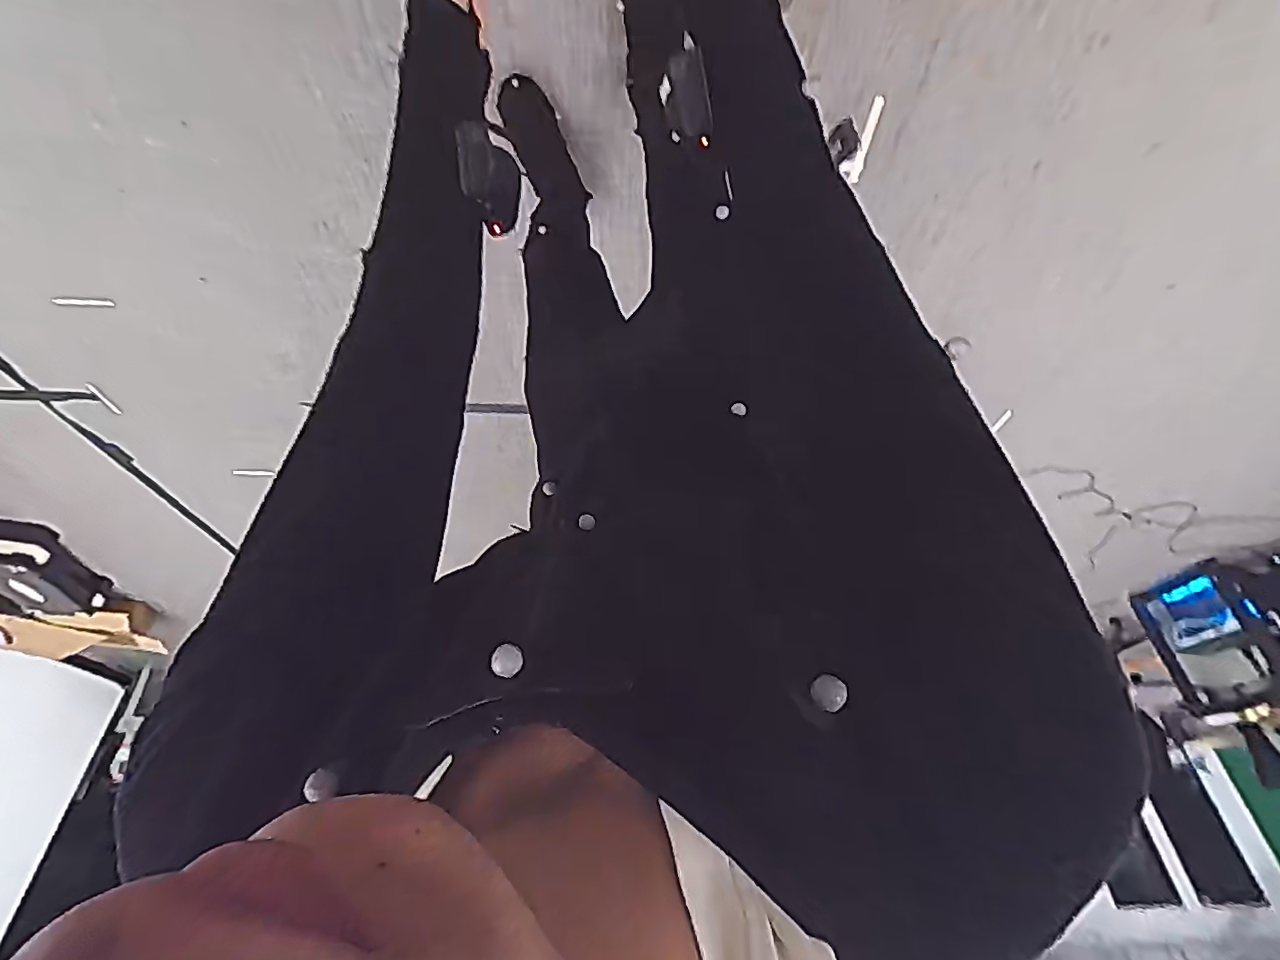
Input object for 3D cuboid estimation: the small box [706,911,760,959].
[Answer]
[{"bbox_3d":[0.351,1.774,2.076,0.168,0.176,0.179,1,145,-4],"label":"small box"}]
